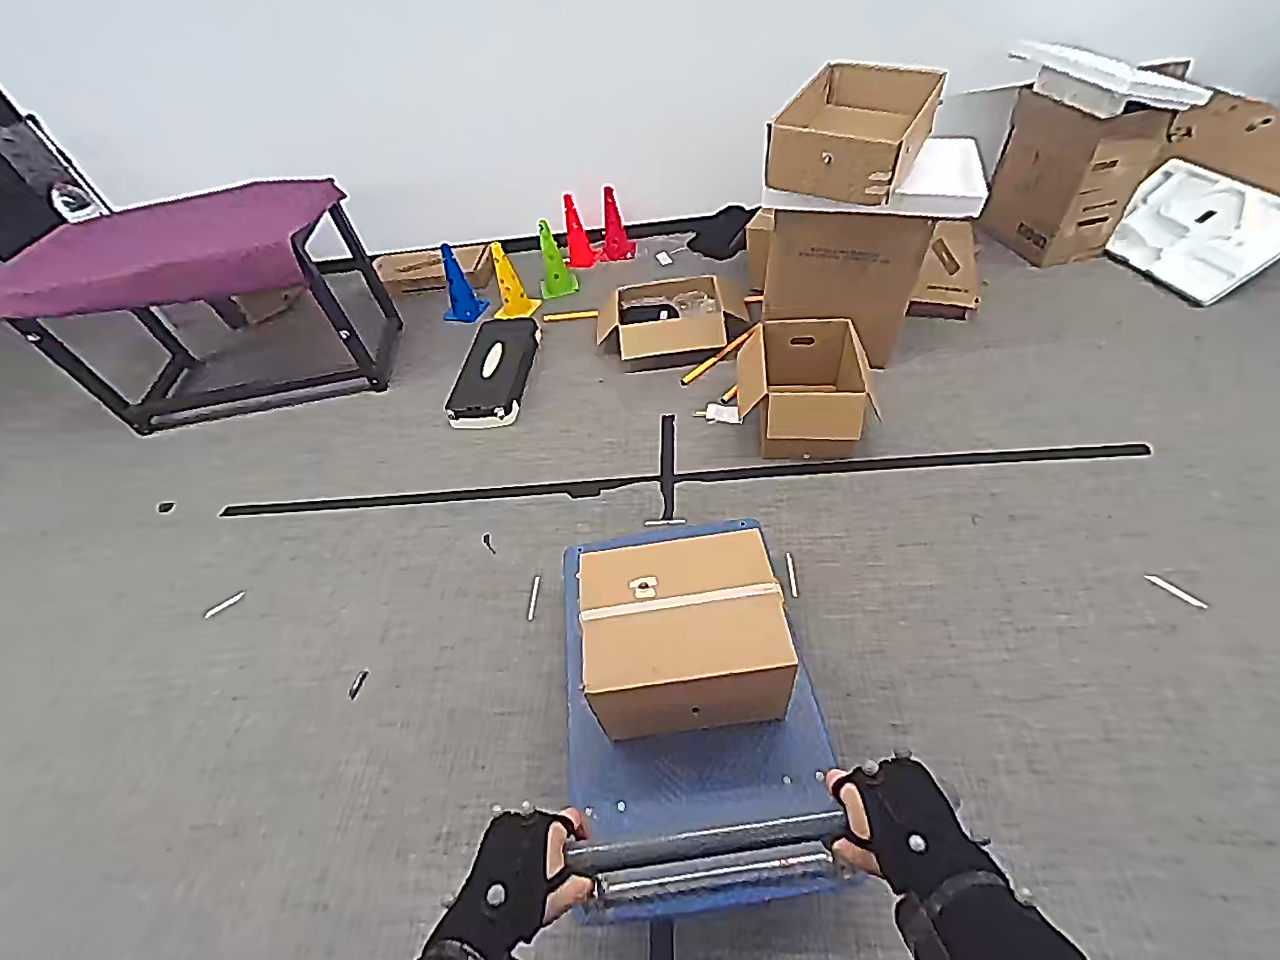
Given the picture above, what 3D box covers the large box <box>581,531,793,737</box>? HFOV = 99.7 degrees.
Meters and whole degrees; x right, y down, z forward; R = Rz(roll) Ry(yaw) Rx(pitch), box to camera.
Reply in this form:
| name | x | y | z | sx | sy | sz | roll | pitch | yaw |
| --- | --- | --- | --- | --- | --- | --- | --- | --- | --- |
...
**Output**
| name | x | y | z | sx | sy | sz | roll | pitch | yaw |
| --- | --- | --- | --- | --- | --- | --- | --- | --- | --- |
| large box | 0.099 | 0.358 | 1.233 | 0.408 | 0.320 | 0.320 | -10 | 48 | 2 |
